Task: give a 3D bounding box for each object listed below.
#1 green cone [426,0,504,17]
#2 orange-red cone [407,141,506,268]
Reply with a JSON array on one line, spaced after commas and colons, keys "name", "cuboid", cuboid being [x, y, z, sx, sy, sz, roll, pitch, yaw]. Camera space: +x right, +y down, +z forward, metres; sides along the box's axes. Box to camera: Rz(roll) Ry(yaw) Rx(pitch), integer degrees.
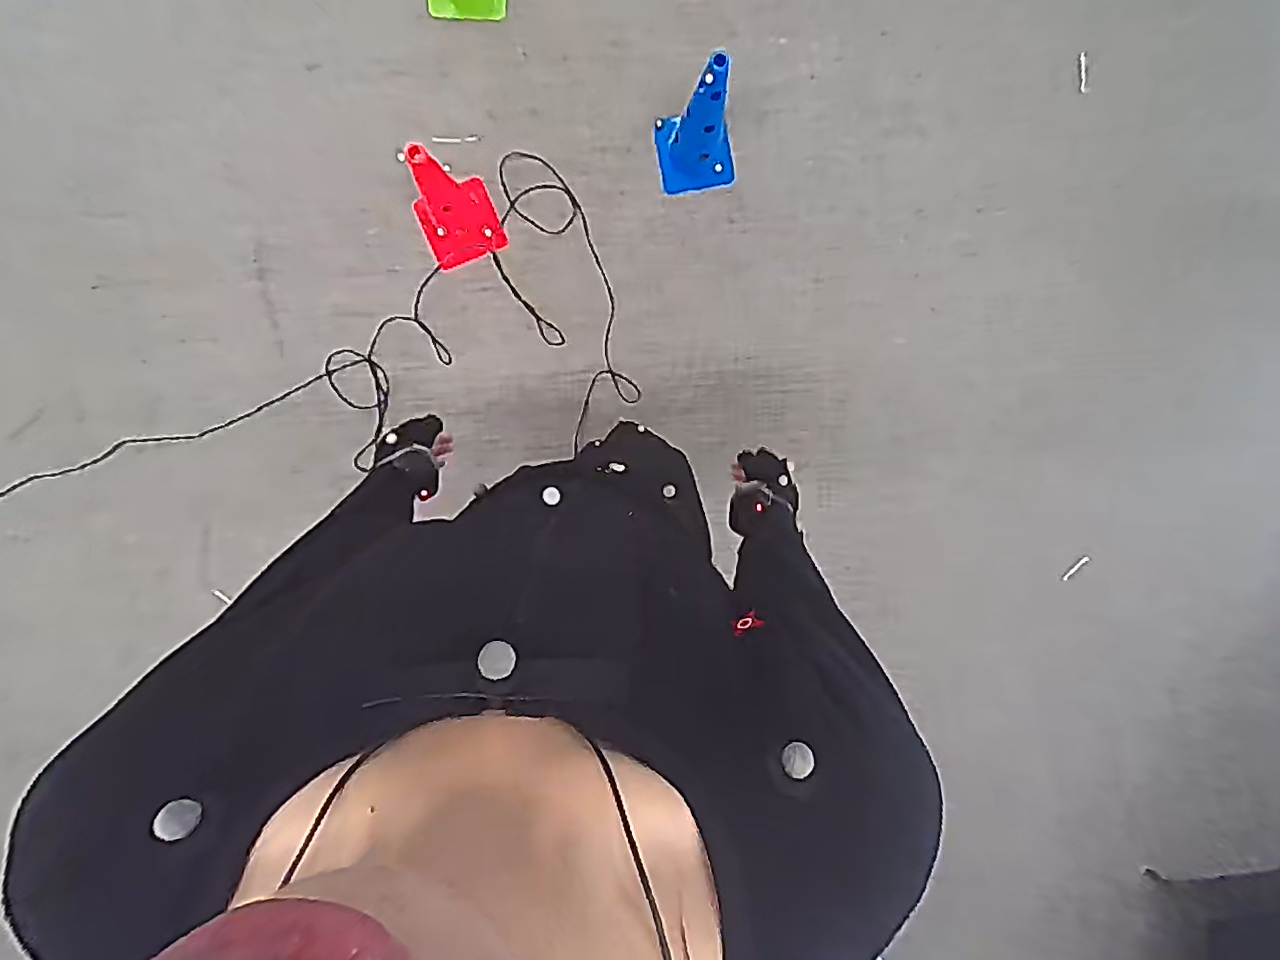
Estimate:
[{"name": "green cone", "cuboid": [-0.448, -1.296, 1.230, 0.200, 0.368, 0.202, -2, 94, -3]}, {"name": "orange-red cone", "cuboid": [-0.467, -0.676, 1.269, 0.198, 0.360, 0.199, -23, 93, -3]}]
